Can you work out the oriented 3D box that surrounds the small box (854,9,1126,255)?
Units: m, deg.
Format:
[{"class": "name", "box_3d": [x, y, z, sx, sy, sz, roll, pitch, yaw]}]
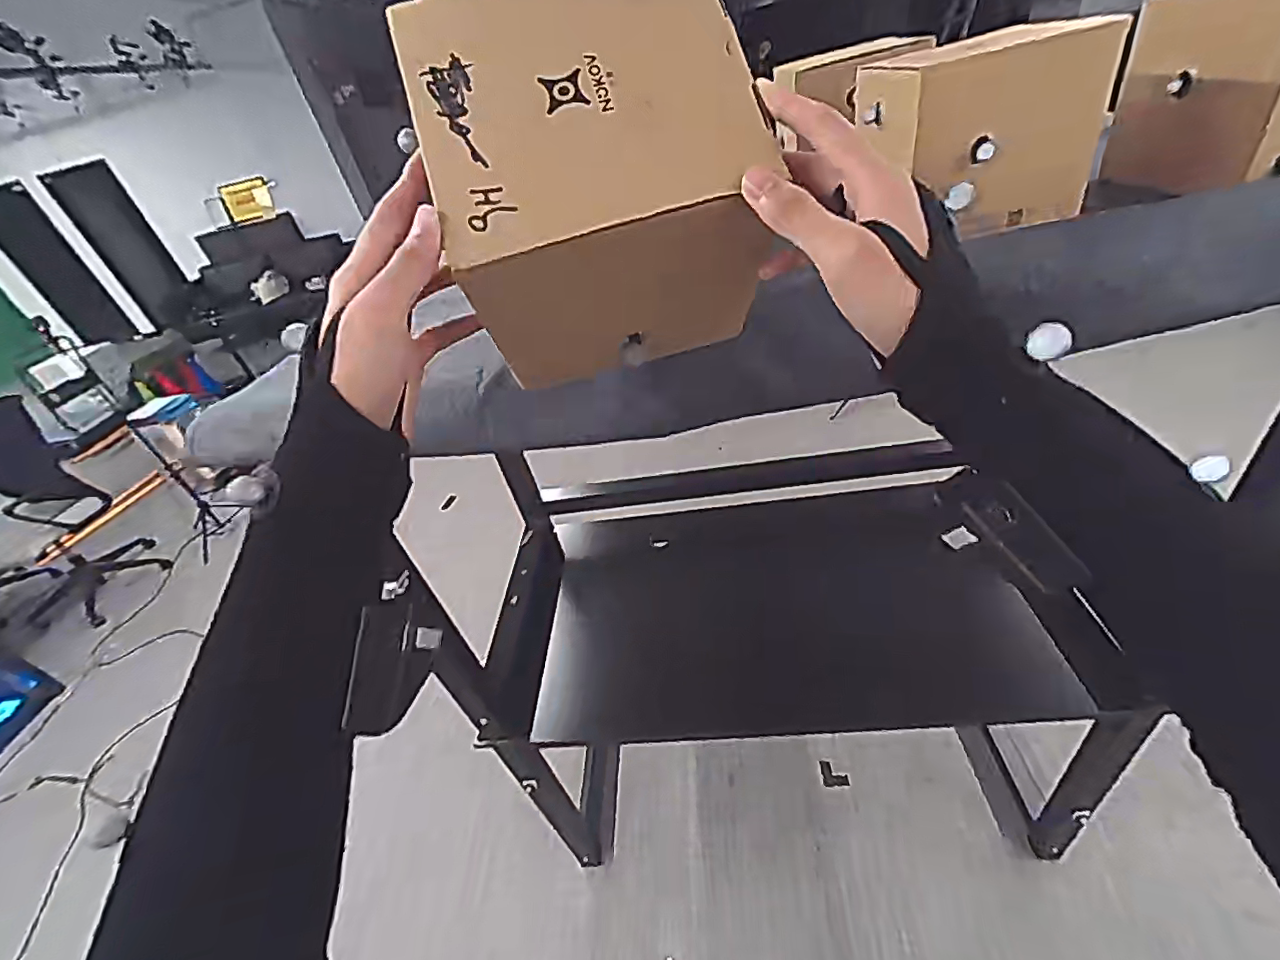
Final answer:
[{"class": "small box", "box_3d": [0.329, -0.345, 0.554, 0.168, 0.176, 0.179, -9, 36, 7]}]

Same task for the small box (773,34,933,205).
[{"class": "small box", "box_3d": [0.297, -0.517, 0.784, 0.179, 0.176, 0.168, -8, 38, 9]}]

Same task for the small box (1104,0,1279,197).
[{"class": "small box", "box_3d": [0.597, -0.380, 0.504, 0.168, 0.176, 0.179, -11, 36, 5]}]

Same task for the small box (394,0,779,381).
[{"class": "small box", "box_3d": [-0.032, -0.188, 0.362, 0.179, 0.176, 0.168, -15, 77, -2]}]
